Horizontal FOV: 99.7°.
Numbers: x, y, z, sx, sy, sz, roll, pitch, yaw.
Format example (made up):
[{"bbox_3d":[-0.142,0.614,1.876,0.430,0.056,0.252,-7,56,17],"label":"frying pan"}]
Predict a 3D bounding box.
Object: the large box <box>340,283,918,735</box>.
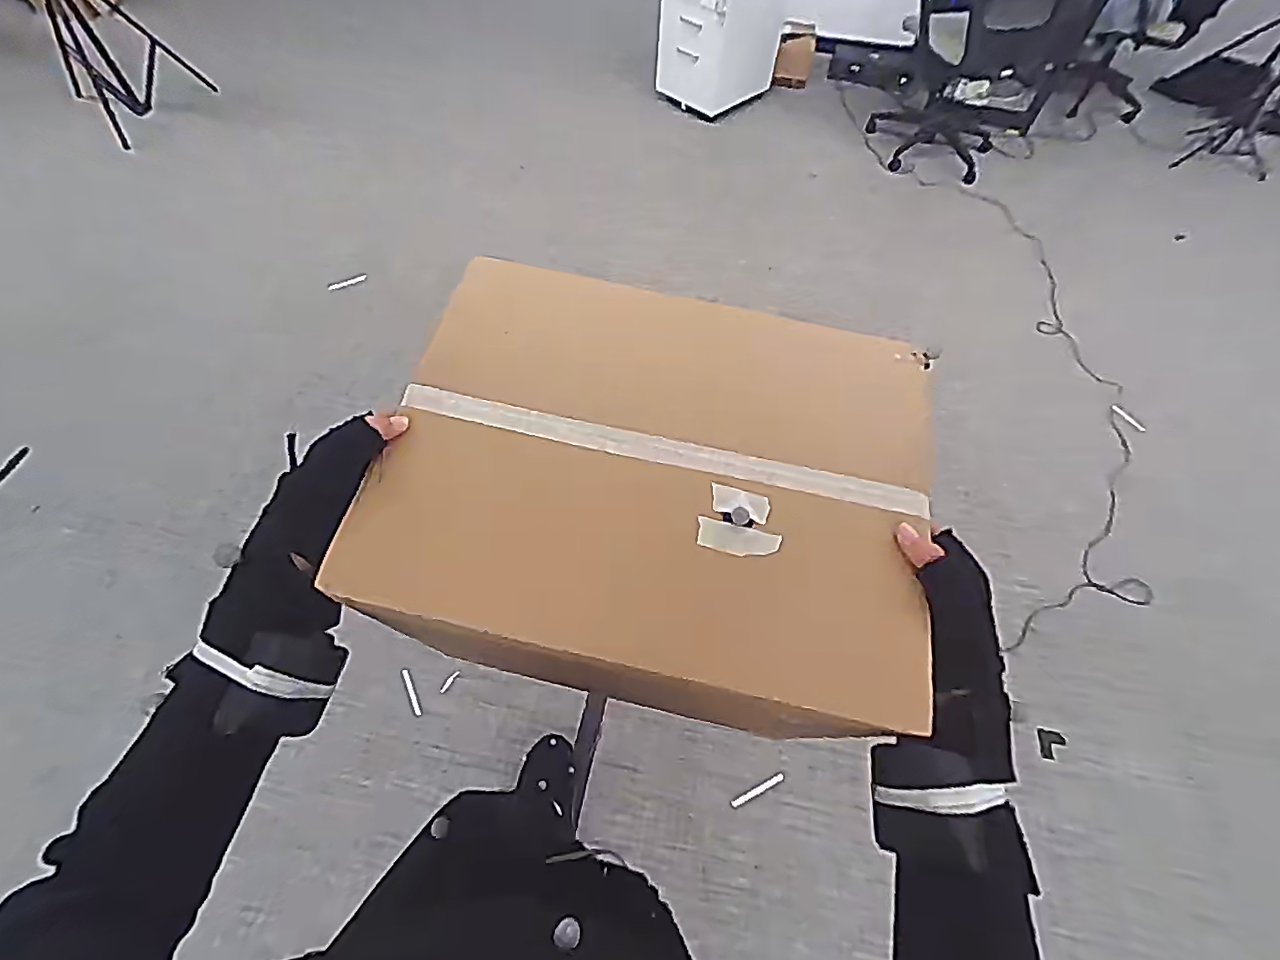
[{"bbox_3d":[0.007,0.054,0.557,0.408,0.320,0.320,13,65,2],"label":"large box"}]
